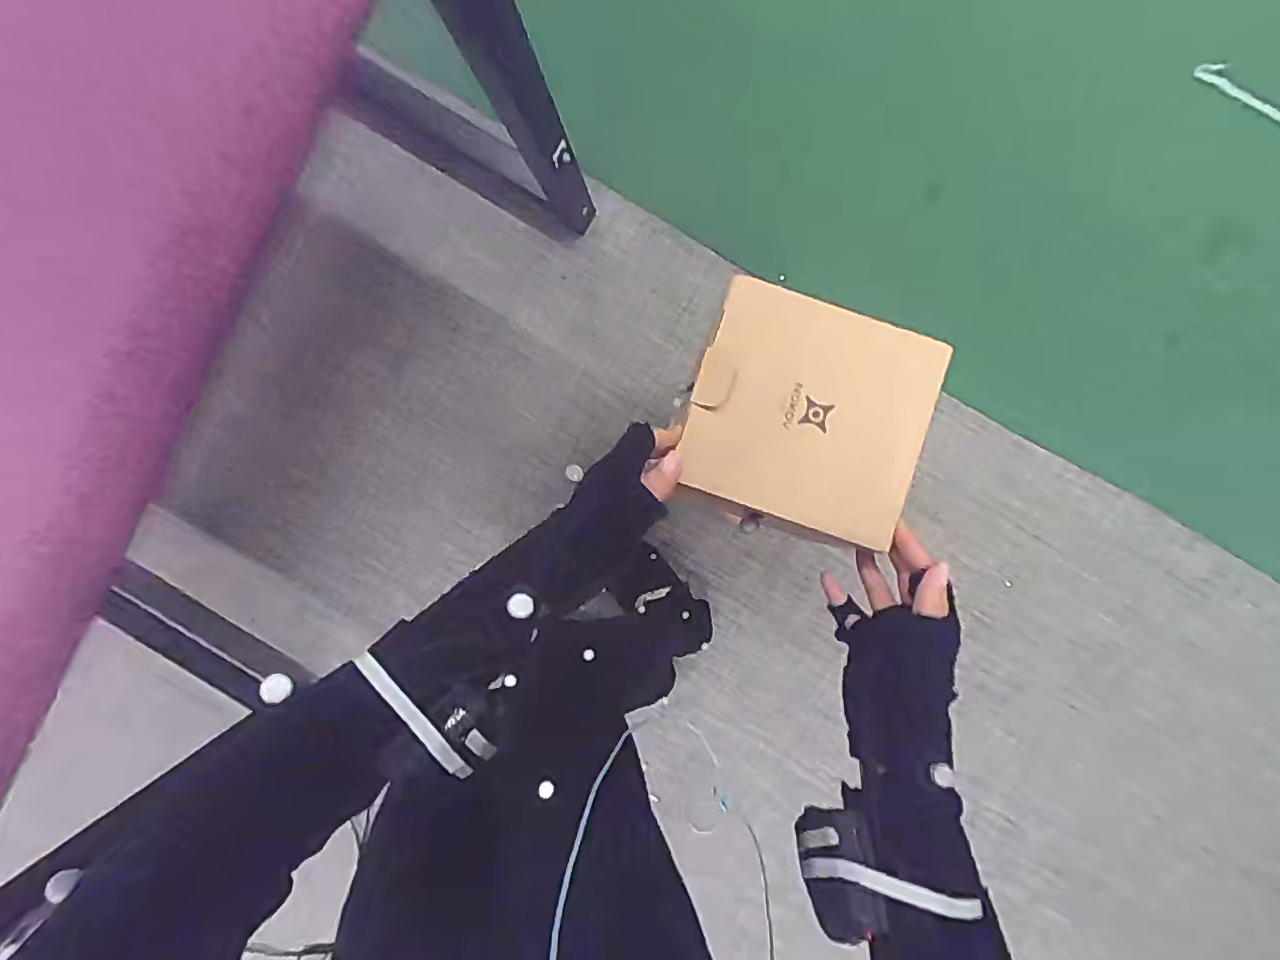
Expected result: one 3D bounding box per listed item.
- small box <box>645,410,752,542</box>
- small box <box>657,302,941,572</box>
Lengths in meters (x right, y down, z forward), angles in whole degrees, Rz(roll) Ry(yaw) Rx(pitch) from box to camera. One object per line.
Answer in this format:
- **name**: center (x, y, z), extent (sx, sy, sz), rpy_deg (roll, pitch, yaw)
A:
- **small box**: center (0.128, -0.038, 0.796), extent (0.179, 0.176, 0.168), rpy_deg (37, 97, 0)
- **small box**: center (0.126, -0.031, 0.496), extent (0.179, 0.176, 0.168), rpy_deg (21, 87, 0)
